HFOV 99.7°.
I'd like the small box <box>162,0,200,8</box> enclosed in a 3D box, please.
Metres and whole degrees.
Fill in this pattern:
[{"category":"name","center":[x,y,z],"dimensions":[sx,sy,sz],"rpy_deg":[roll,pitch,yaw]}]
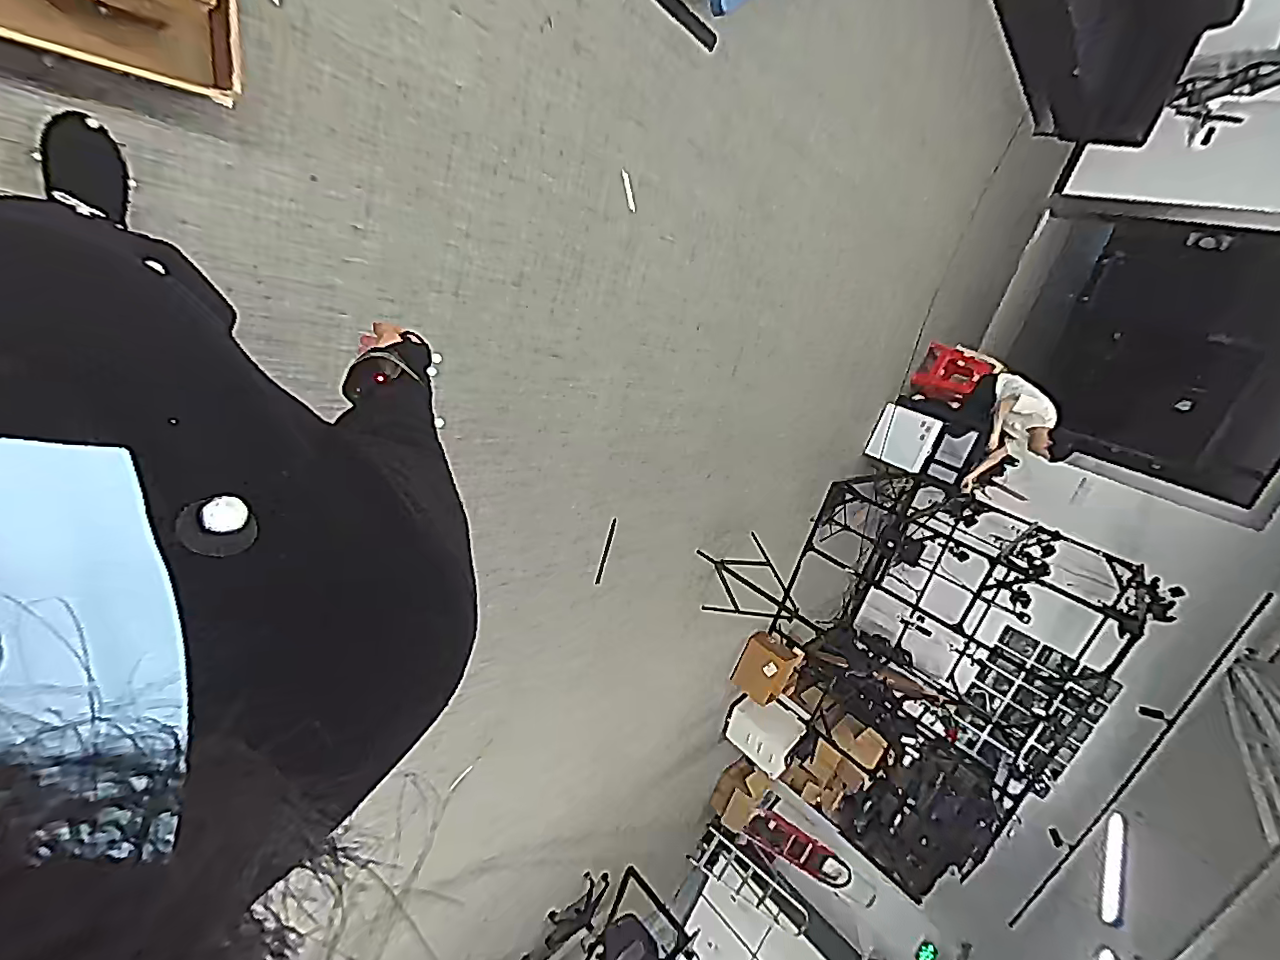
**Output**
[{"category":"small box","center":[-0.675,-0.757,0.700],"dimensions":[0.168,0.176,0.179],"rpy_deg":[-10,121,-45]}]
